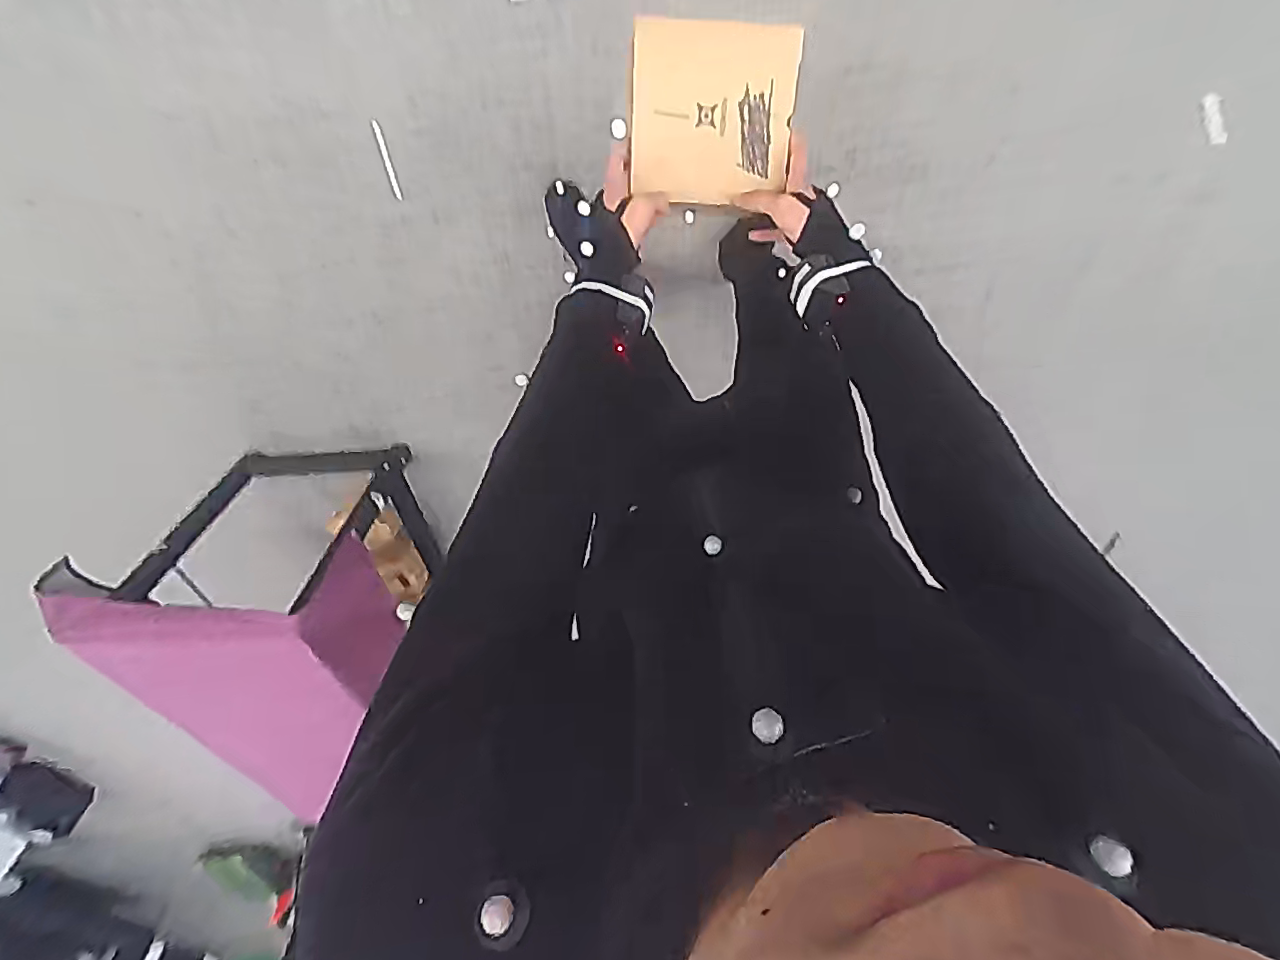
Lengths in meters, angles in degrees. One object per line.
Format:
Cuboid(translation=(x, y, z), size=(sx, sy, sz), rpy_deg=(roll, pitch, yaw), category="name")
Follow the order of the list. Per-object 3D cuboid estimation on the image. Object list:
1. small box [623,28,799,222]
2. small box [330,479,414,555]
Cuboid(translation=(0.072, -0.411, 0.656), size=(0.179, 0.176, 0.168), rpy_deg=(1, 112, -3), category="small box")
Cuboid(translation=(-0.934, 0.129, 1.902), size=(0.179, 0.176, 0.168), rpy_deg=(-25, 126, 23), category="small box")
